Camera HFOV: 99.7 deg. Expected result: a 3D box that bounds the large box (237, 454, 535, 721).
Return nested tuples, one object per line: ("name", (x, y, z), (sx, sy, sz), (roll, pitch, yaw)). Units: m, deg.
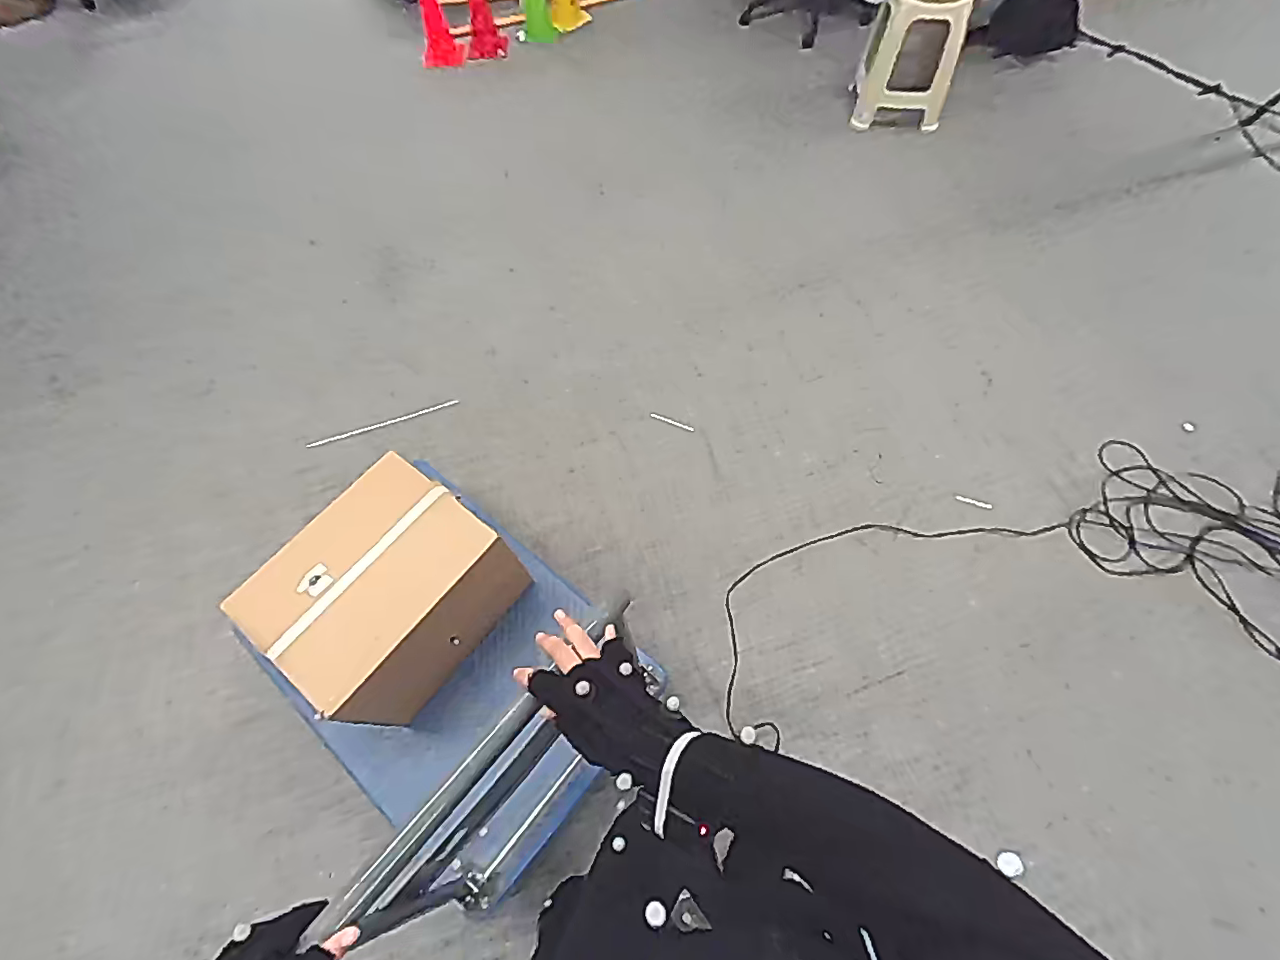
("large box", (-0.485, 0.232, 1.130), (0.320, 0.320, 0.408), (34, 70, 18))
